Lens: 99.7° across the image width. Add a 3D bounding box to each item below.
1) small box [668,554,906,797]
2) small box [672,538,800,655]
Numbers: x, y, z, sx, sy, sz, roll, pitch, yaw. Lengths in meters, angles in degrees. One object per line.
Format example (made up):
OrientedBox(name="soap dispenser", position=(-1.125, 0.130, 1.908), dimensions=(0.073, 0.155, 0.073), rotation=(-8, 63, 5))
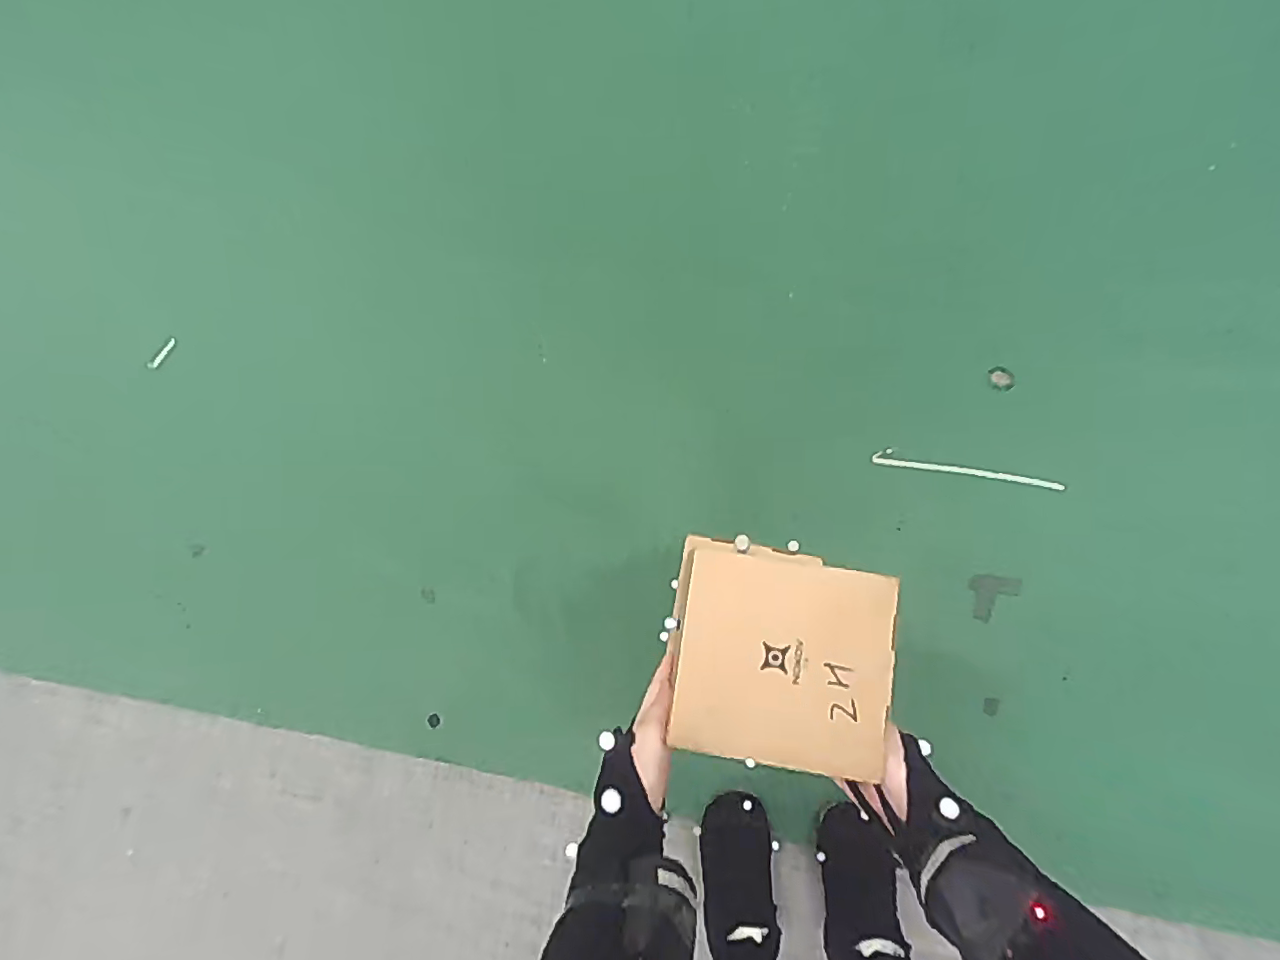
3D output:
OrientedBox(name="small box", position=(0.125, 0.167, 0.516), dimensions=(0.179, 0.176, 0.168), rotation=(8, 83, 4))
OrientedBox(name="small box", position=(0.152, 0.197, 0.873), dimensions=(0.168, 0.176, 0.179), rotation=(9, 82, 8))
